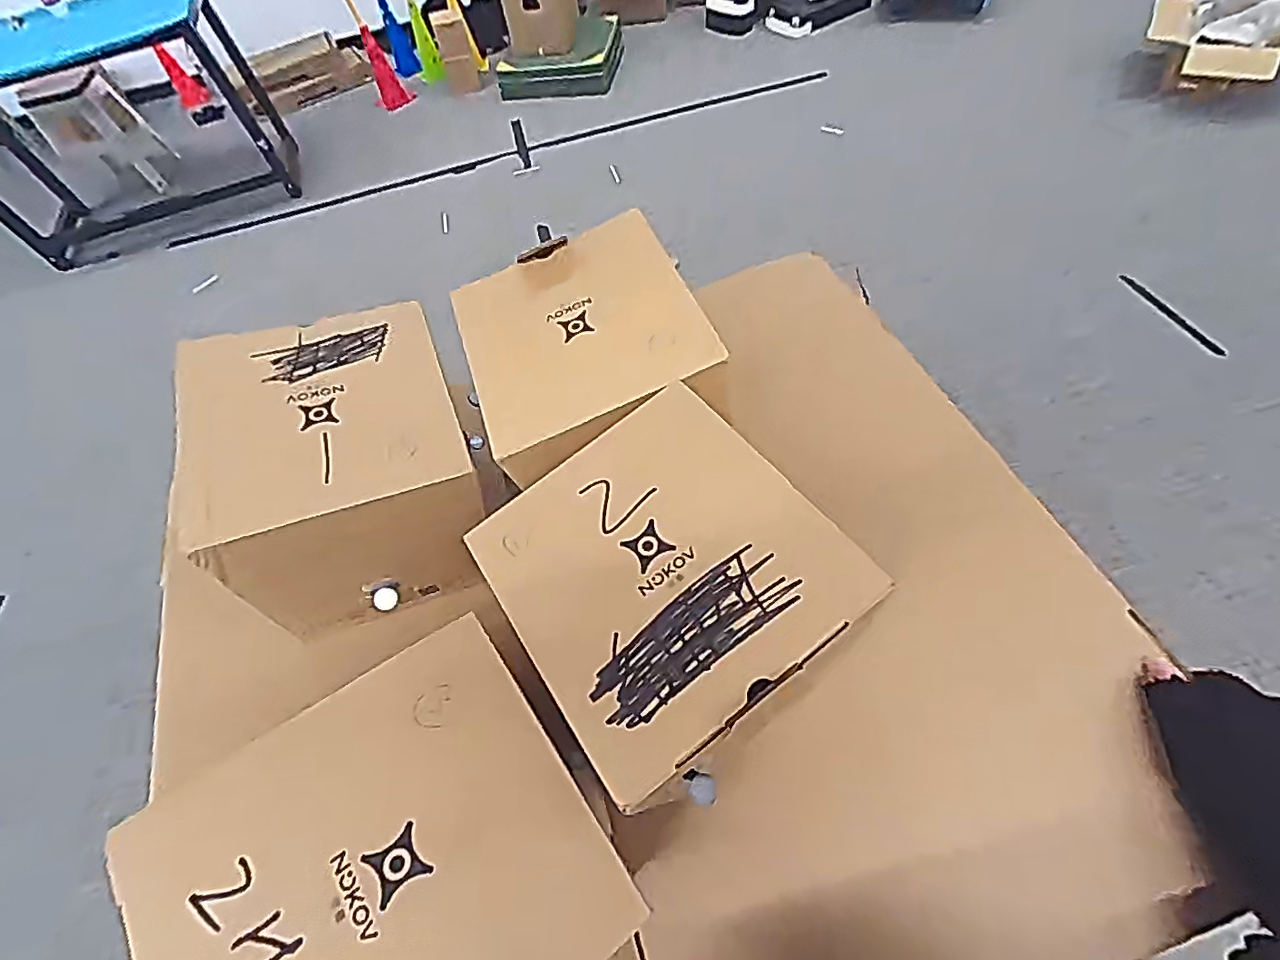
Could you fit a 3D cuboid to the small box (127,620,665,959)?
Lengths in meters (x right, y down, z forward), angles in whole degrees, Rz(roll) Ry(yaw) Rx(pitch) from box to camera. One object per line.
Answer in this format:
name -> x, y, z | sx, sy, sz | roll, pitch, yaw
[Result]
small box -> -0.111, 0.213, 0.300 | 0.179, 0.176, 0.168 | -30, 65, -22
